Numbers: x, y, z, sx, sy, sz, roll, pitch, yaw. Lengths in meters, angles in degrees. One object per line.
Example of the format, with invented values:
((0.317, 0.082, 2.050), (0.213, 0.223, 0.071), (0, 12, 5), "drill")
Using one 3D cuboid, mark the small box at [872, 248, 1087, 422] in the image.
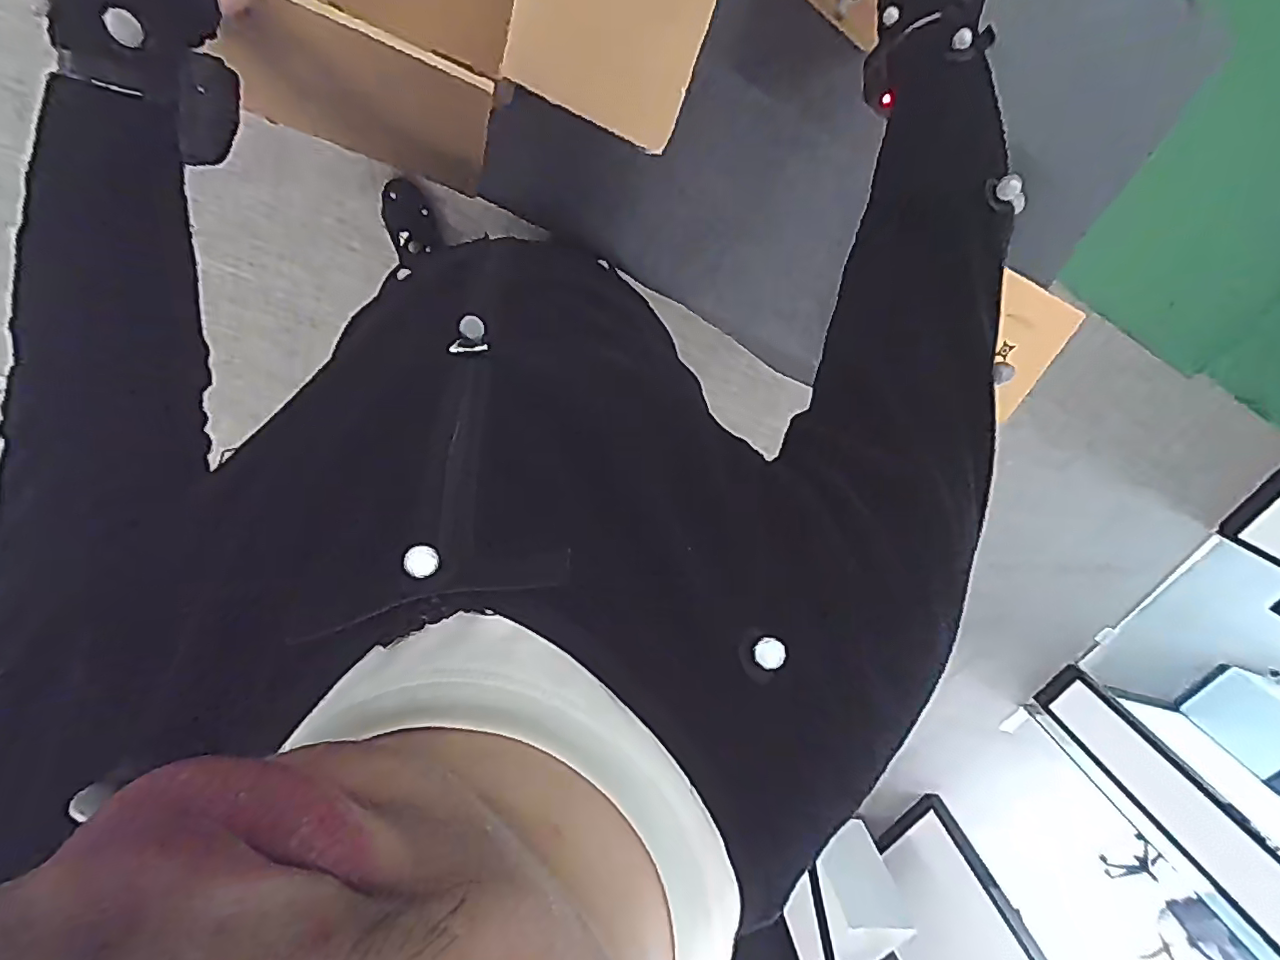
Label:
((0.476, -0.216, 0.795), (0.168, 0.176, 0.179), (16, 115, -20), "small box")
